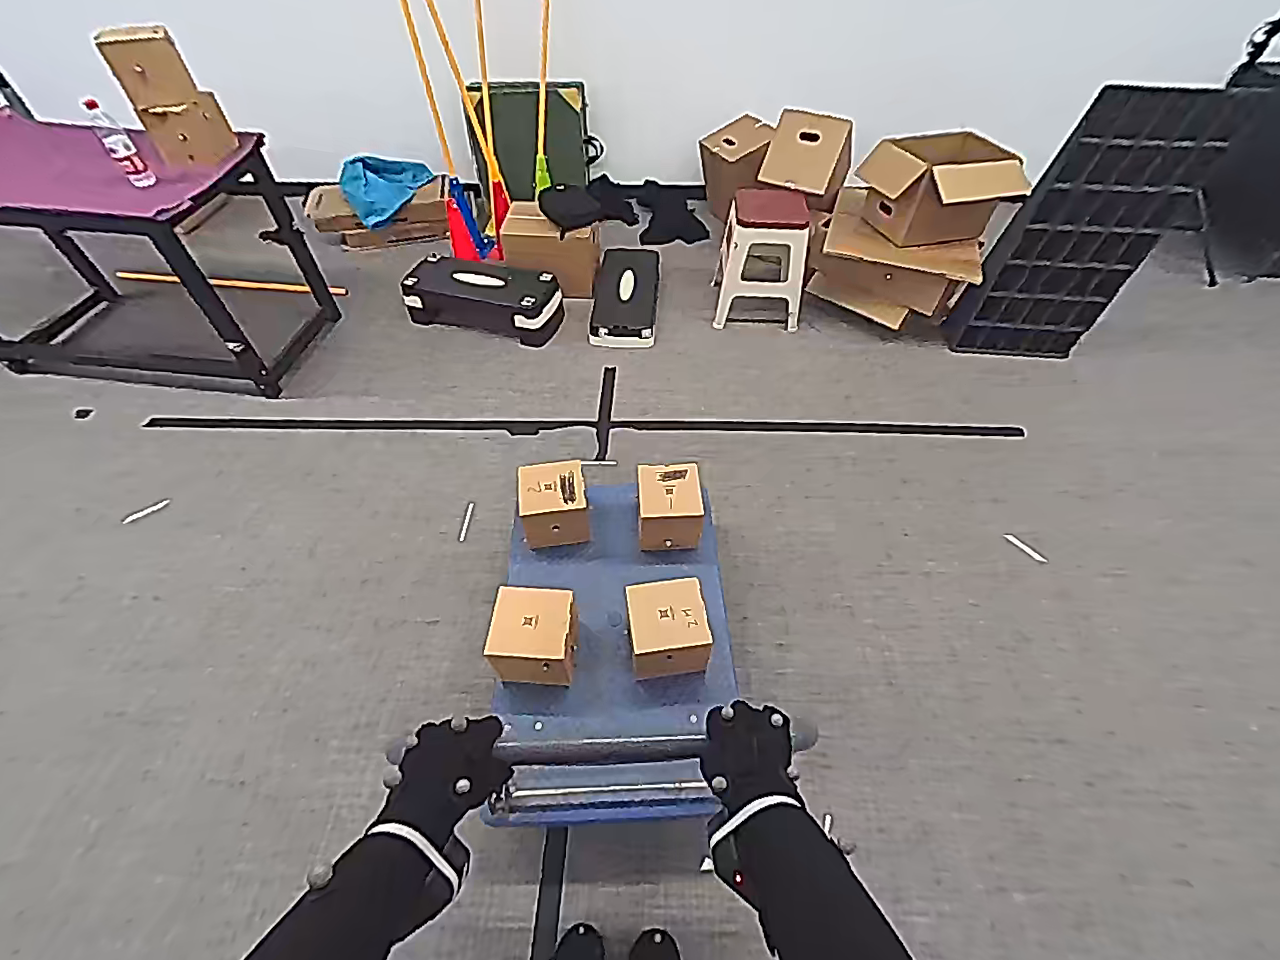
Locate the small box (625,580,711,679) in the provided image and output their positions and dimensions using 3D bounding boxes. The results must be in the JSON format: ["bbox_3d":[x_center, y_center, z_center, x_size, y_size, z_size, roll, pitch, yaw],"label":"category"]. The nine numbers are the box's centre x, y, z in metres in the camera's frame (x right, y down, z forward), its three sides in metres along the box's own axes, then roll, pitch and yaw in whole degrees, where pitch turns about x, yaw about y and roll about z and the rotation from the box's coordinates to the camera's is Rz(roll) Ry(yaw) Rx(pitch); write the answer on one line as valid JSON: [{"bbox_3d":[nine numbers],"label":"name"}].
[{"bbox_3d":[0.062,0.357,1.282,0.179,0.176,0.168,-6,52,-5],"label":"small box"}]

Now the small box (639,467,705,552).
[{"bbox_3d":[0.082,0.082,1.502,0.168,0.176,0.179,-1,52,-2],"label":"small box"}]

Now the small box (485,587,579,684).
[{"bbox_3d":[-0.245,0.368,1.273,0.179,0.176,0.168,4,51,1],"label":"small box"}]
